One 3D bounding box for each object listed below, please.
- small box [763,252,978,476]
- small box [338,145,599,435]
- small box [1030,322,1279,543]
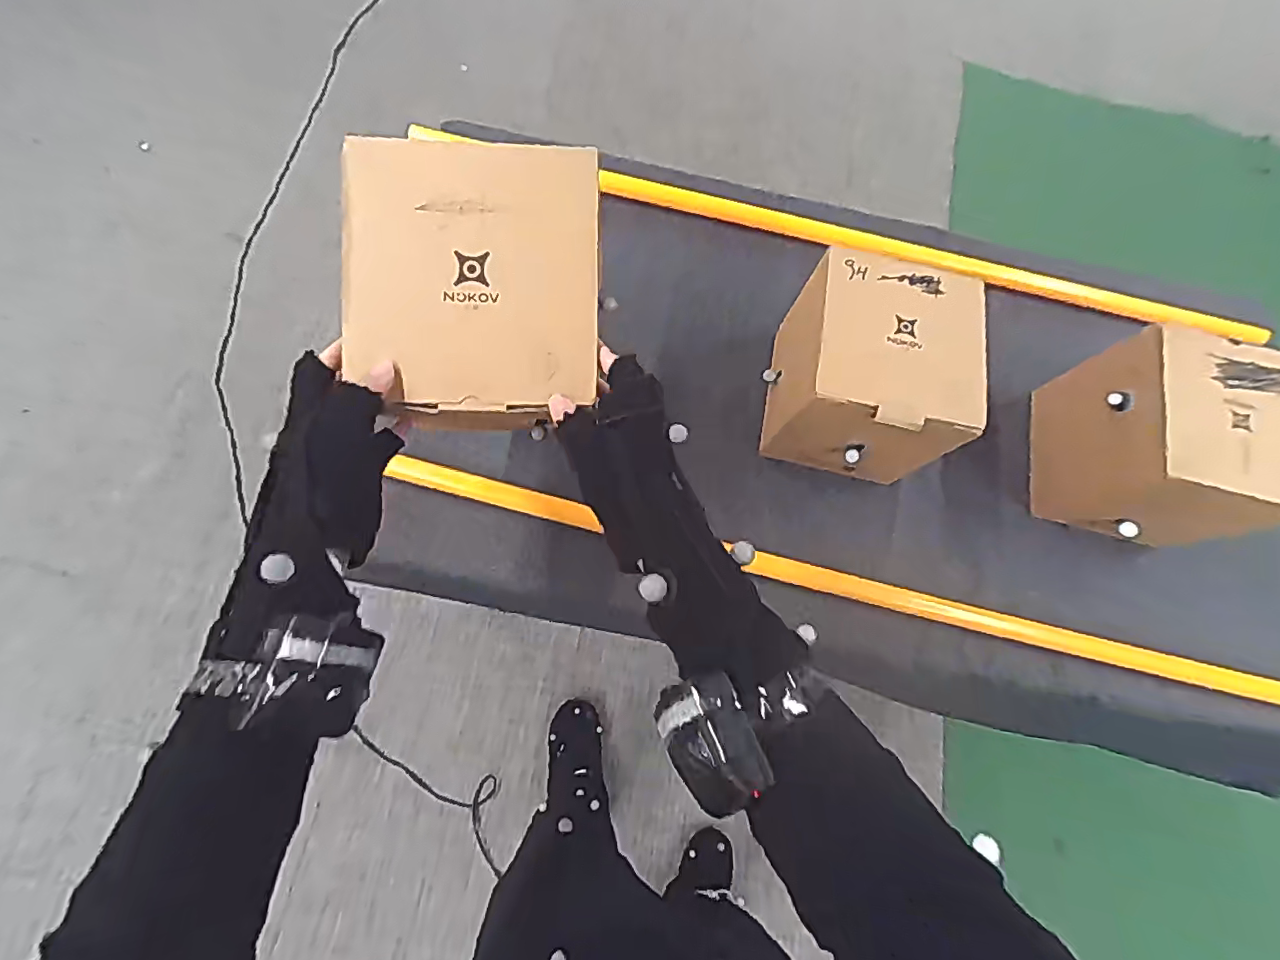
[{"bbox_3d":[0.243,-0.116,0.605,0.168,0.176,0.179,9,71,-1],"label":"small box"},{"bbox_3d":[-0.117,-0.128,0.431,0.168,0.176,0.179,-1,89,-5],"label":"small box"},{"bbox_3d":[0.581,-0.042,0.612,0.168,0.176,0.179,14,72,-1],"label":"small box"}]
